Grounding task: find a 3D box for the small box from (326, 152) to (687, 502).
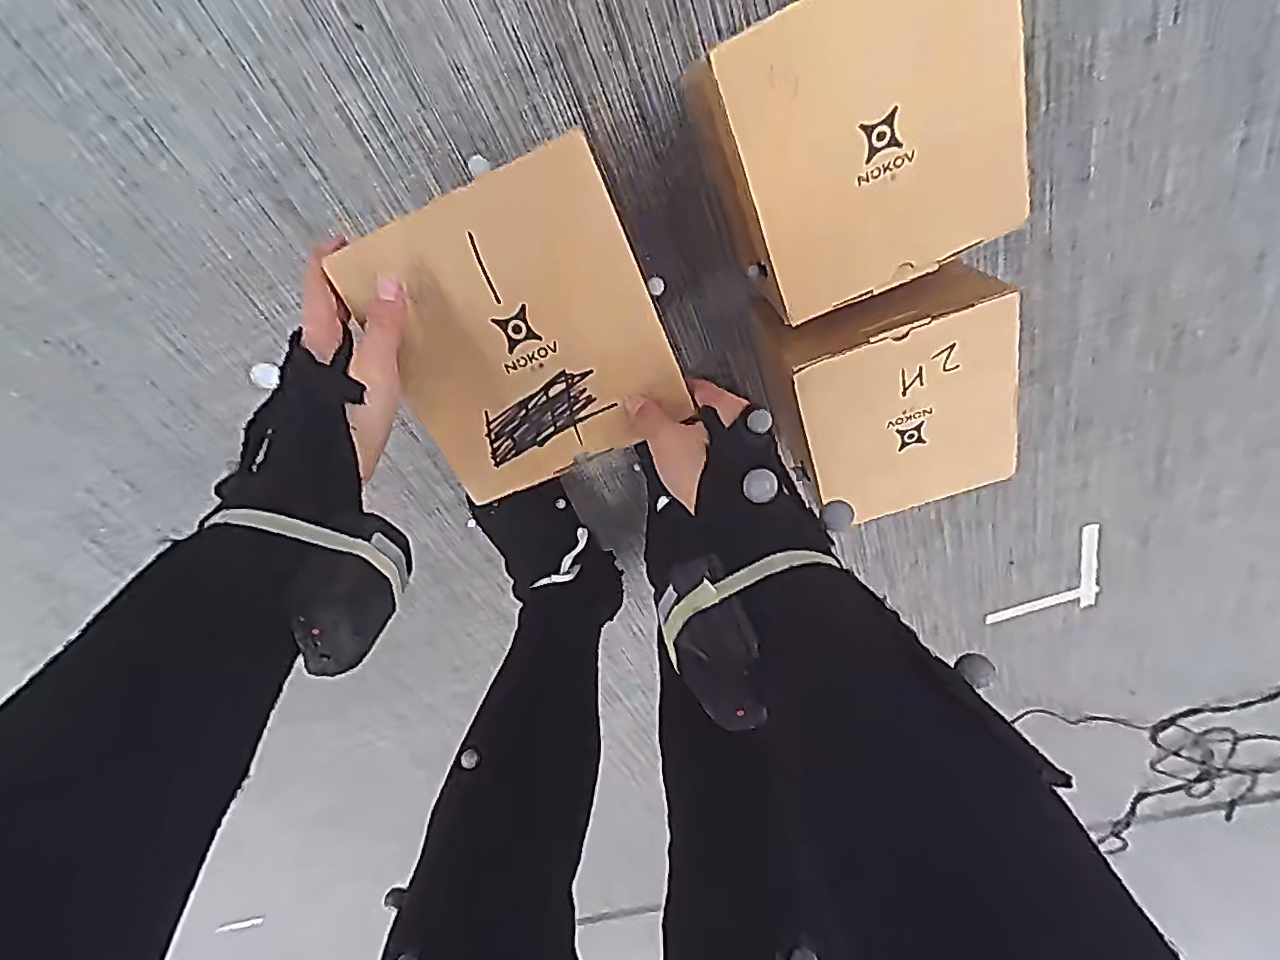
[{"bbox_3d":[-0.078,-0.119,0.403,0.168,0.176,0.179,-22,120,7],"label":"small box"}]
